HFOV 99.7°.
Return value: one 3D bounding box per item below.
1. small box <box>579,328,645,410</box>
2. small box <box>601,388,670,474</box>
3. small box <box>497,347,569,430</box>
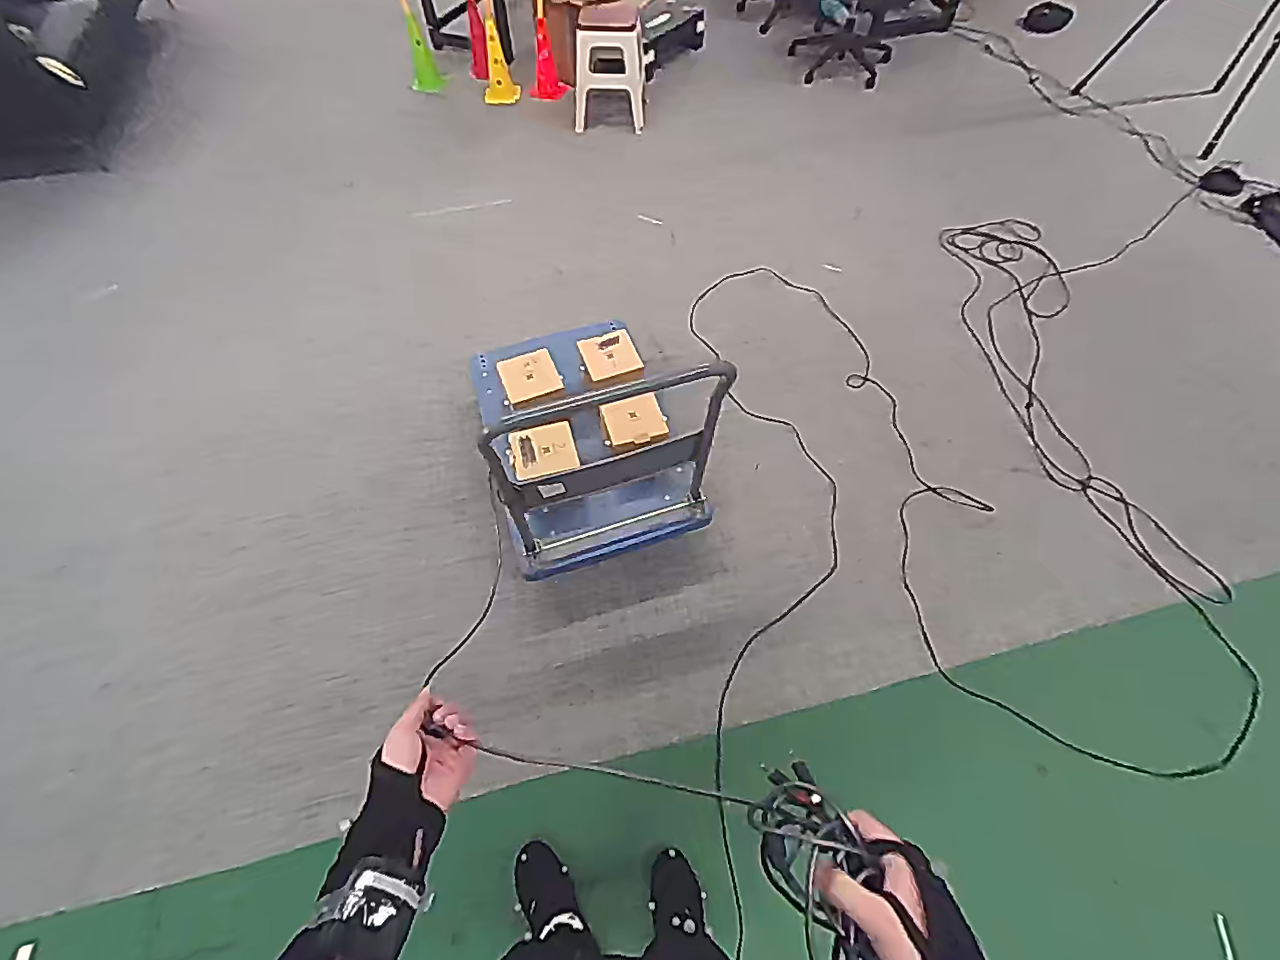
[{"bbox_3d":[-0.089,-0.351,1.735,0.168,0.176,0.179,-18,62,-9],"label":"small box"},{"bbox_3d":[-0.017,-0.144,1.616,0.168,0.176,0.179,-15,61,-8],"label":"small box"},{"bbox_3d":[-0.330,-0.279,1.693,0.168,0.176,0.179,-19,62,-12],"label":"small box"}]
